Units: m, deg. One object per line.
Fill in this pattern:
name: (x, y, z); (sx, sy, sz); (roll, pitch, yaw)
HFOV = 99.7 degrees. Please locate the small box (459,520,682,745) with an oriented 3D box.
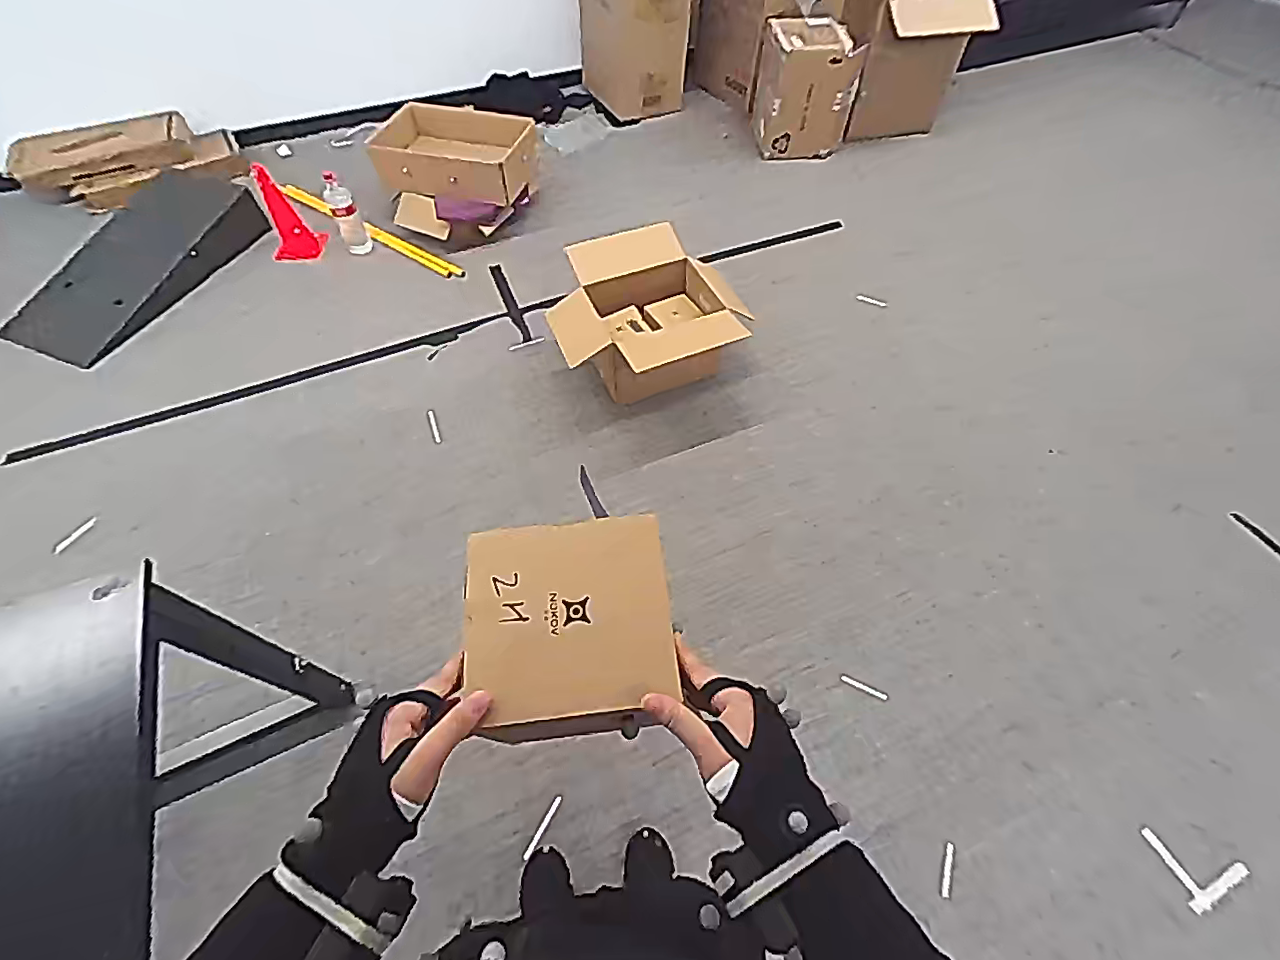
small box: (-0.060, 0.154, 0.525); (0.179, 0.176, 0.168); (-7, 60, -2)
